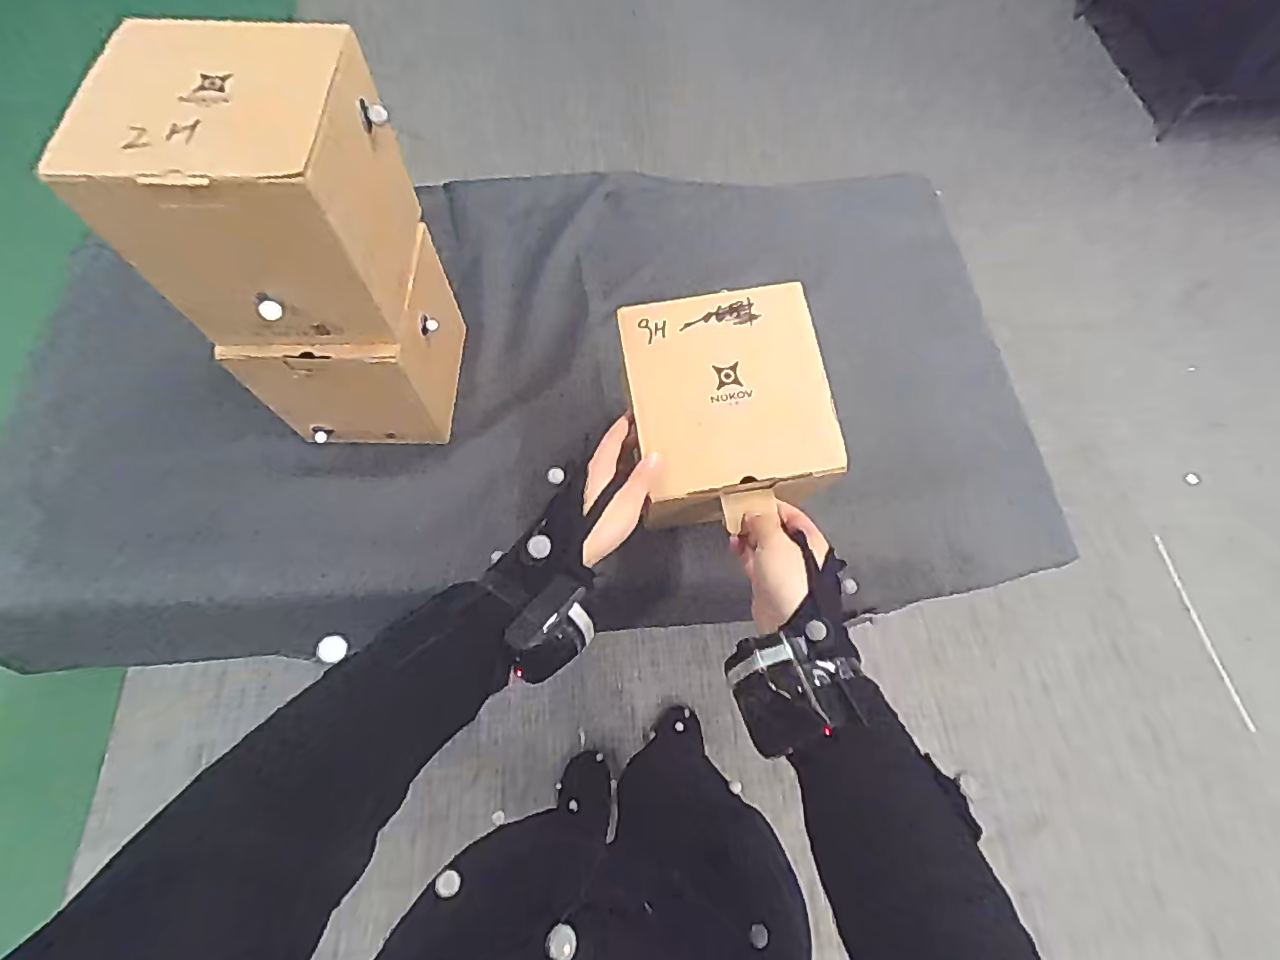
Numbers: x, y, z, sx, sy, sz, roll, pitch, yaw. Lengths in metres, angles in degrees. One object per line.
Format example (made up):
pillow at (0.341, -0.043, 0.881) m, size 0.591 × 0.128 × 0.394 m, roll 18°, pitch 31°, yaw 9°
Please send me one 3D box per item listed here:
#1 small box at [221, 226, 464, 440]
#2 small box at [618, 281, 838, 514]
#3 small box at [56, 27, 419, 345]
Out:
small box at (-0.306, -0.156, 0.603) m, size 0.168 × 0.176 × 0.179 m, roll 1°, pitch 65°, yaw -3°
small box at (0.074, -0.066, 0.539) m, size 0.168 × 0.176 × 0.179 m, roll -8°, pitch 77°, yaw -1°
small box at (-0.302, -0.237, 0.459) m, size 0.168 × 0.176 × 0.179 m, roll -2°, pitch 66°, yaw -3°
